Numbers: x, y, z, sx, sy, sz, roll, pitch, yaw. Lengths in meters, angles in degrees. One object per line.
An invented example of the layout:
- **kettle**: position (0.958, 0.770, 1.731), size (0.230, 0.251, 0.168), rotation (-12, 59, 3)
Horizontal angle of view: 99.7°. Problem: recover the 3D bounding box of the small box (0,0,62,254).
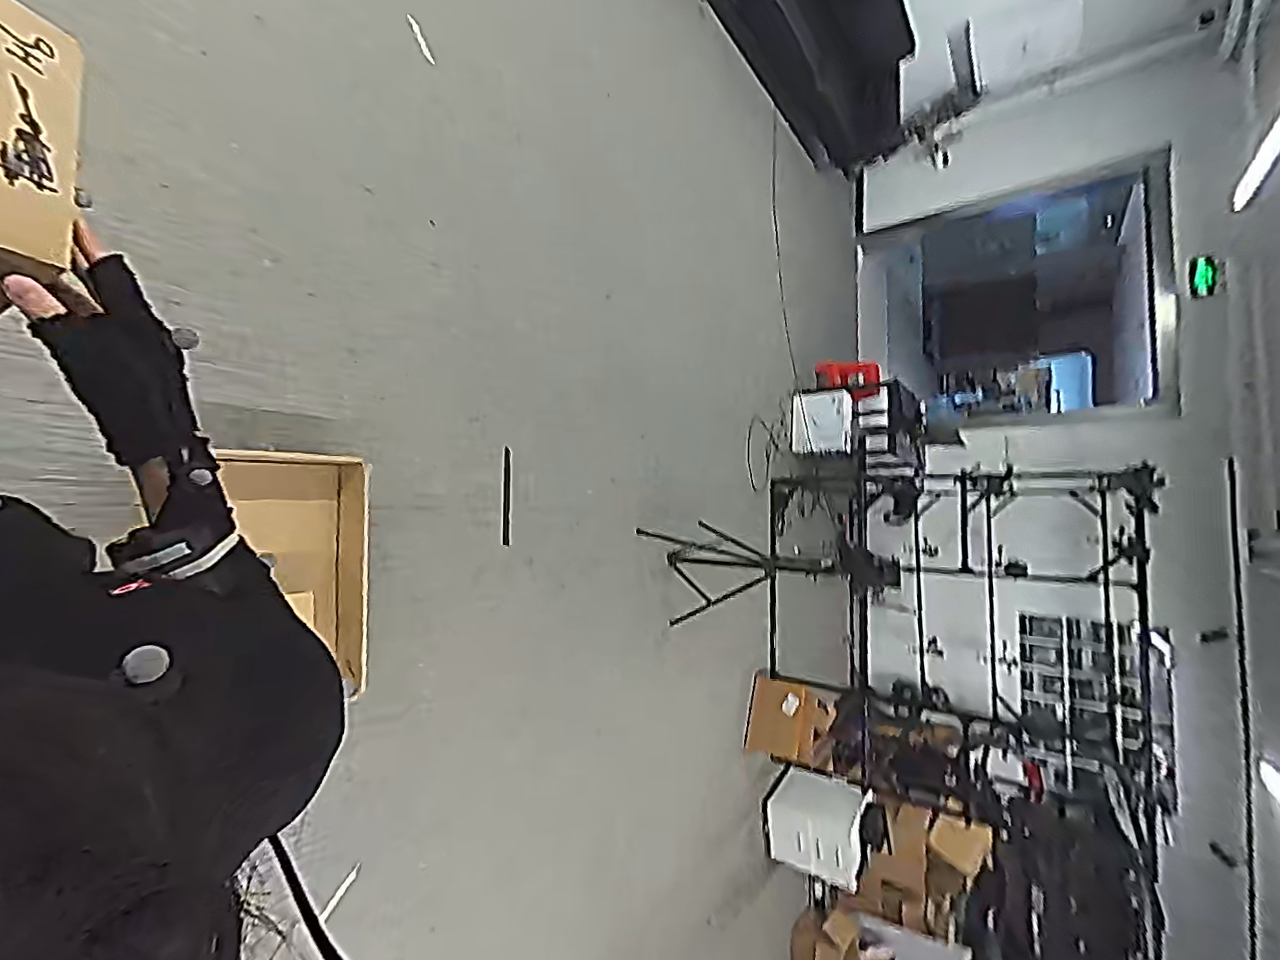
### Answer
- **small box**: position (-0.475, -0.219, 0.294), size (0.179, 0.176, 0.168), rotation (11, 73, -64)
